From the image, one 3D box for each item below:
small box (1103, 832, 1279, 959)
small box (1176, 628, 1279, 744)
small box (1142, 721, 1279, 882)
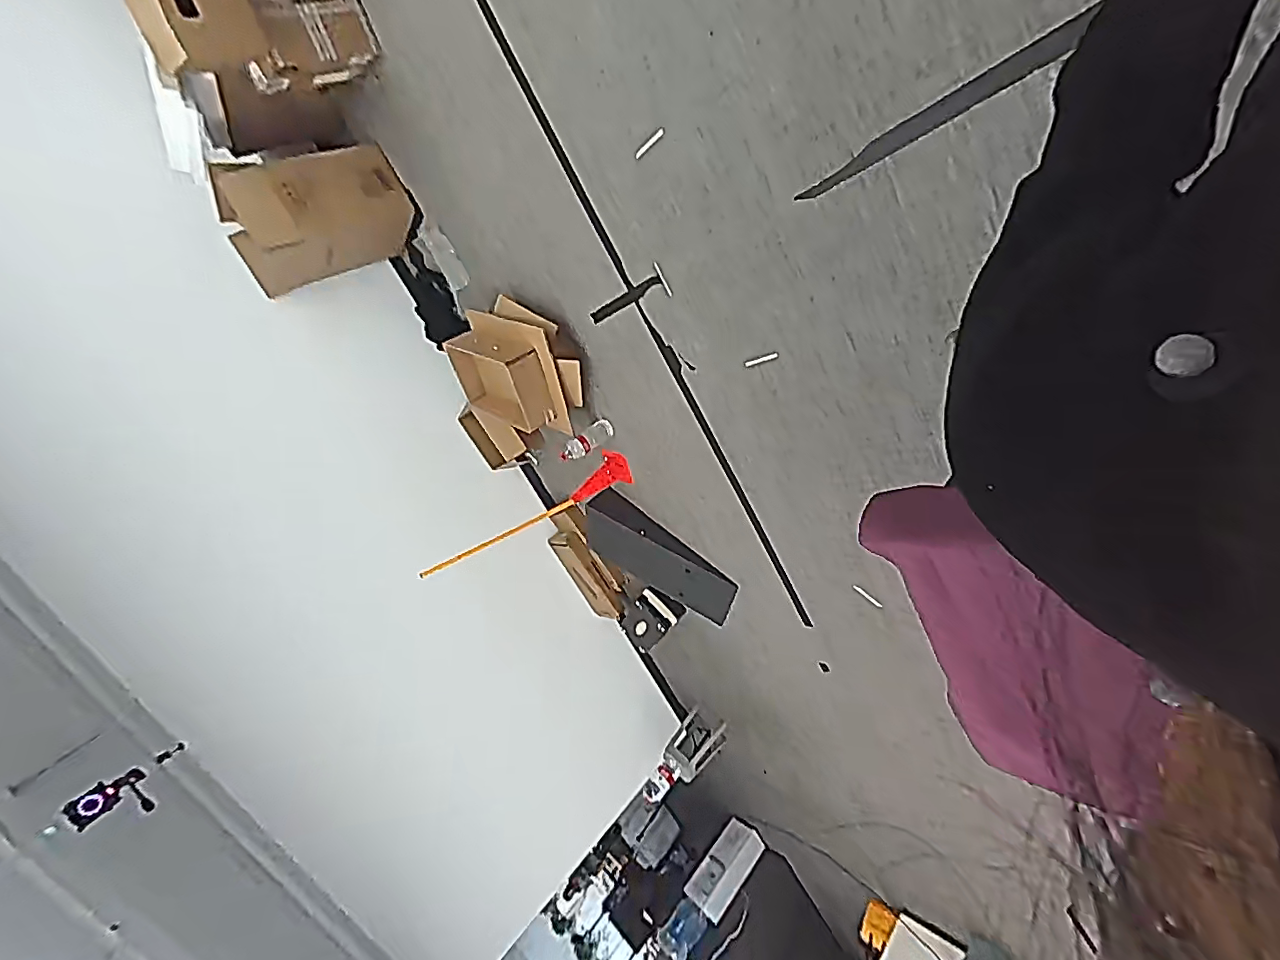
[{"bbox_3d":[0.542,0.466,0.478,0.168,0.176,0.179,-6,118,56],"label":"small box"},{"bbox_3d":[0.773,0.305,0.644,0.168,0.176,0.179,-1,122,54],"label":"small box"},{"bbox_3d":[0.662,0.396,0.565,0.168,0.176,0.179,-2,120,54],"label":"small box"}]
